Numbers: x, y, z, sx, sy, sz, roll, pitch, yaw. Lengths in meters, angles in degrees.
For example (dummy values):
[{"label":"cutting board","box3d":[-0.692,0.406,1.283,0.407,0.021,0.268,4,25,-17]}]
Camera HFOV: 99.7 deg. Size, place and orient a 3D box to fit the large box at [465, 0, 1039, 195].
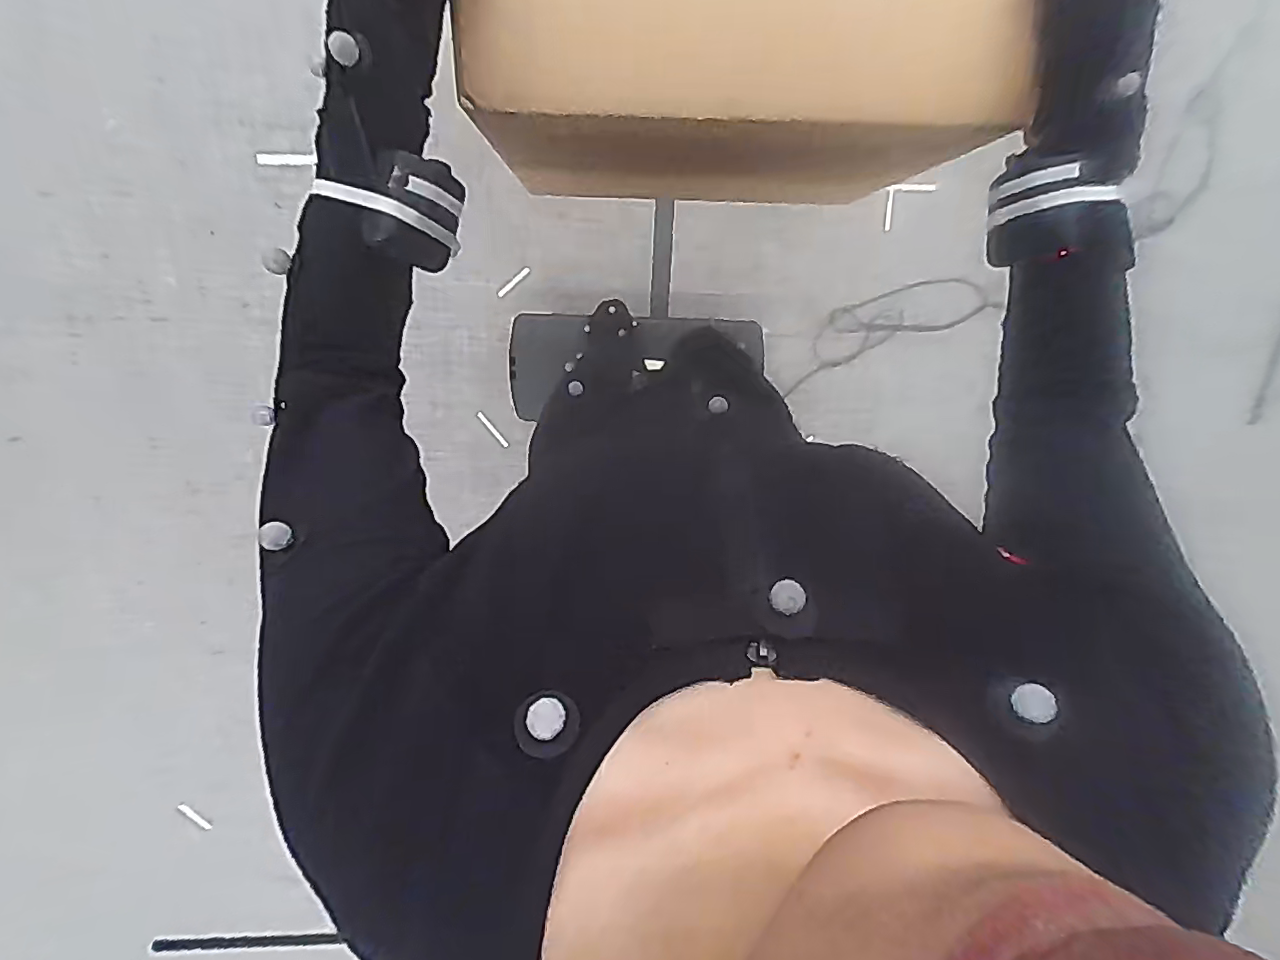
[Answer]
[{"label":"large box","box3d":[0.070,-0.455,0.482,0.408,0.320,0.320,-1,109,-4]}]
